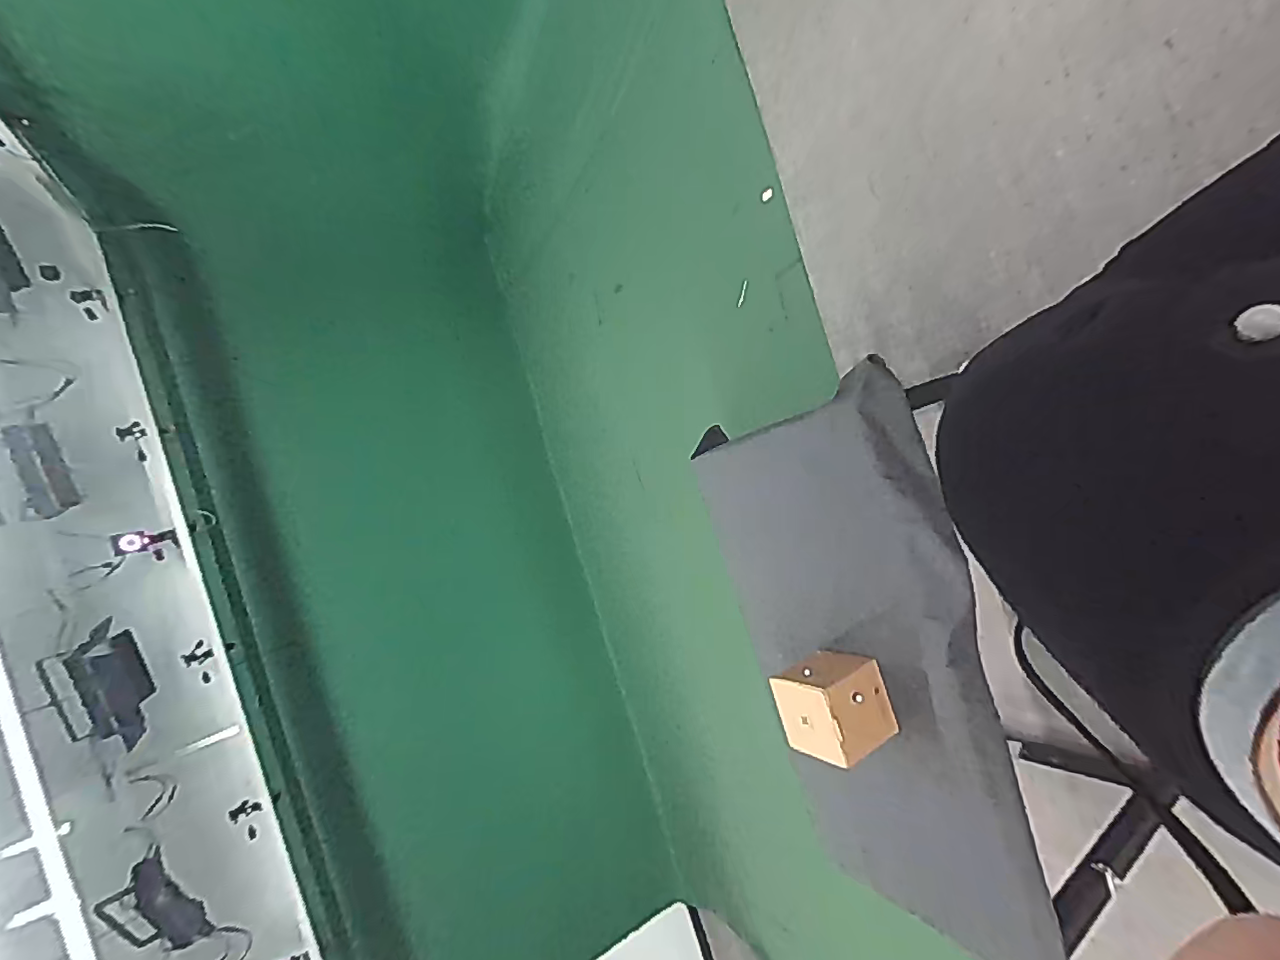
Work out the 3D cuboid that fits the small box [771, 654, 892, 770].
[{"bbox_3d":[0.430,0.503,1.204,0.179,0.176,0.168,-22,85,63],"label":"small box"}]
